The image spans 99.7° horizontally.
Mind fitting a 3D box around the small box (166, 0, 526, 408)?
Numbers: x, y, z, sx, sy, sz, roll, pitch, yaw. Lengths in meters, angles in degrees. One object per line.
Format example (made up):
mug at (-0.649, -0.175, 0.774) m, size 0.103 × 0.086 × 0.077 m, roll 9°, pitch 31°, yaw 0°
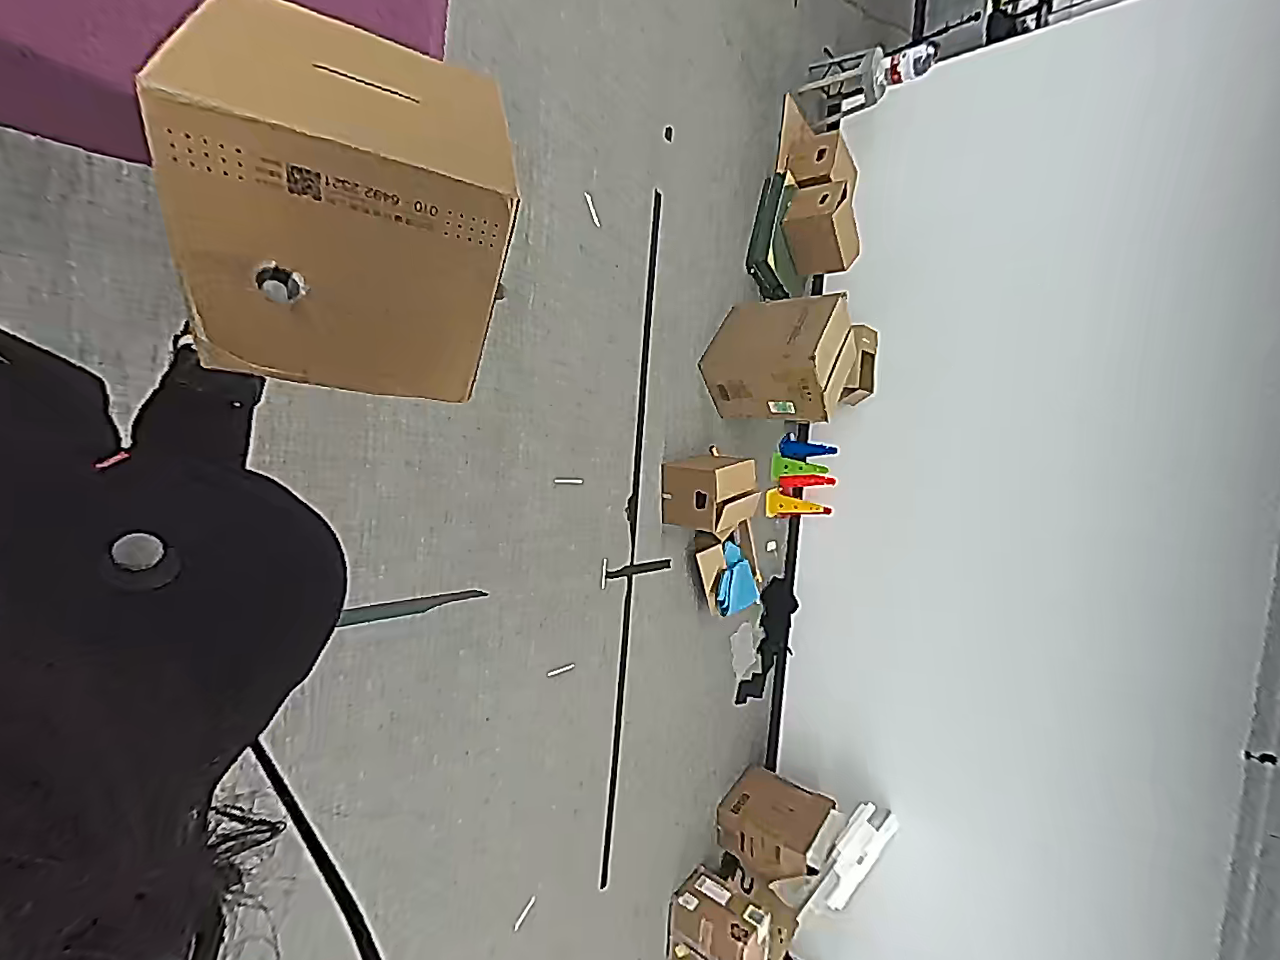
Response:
small box at (-0.182, -0.178, 0.363) m, size 0.168 × 0.176 × 0.179 m, roll 7°, pitch 48°, yaw -28°
